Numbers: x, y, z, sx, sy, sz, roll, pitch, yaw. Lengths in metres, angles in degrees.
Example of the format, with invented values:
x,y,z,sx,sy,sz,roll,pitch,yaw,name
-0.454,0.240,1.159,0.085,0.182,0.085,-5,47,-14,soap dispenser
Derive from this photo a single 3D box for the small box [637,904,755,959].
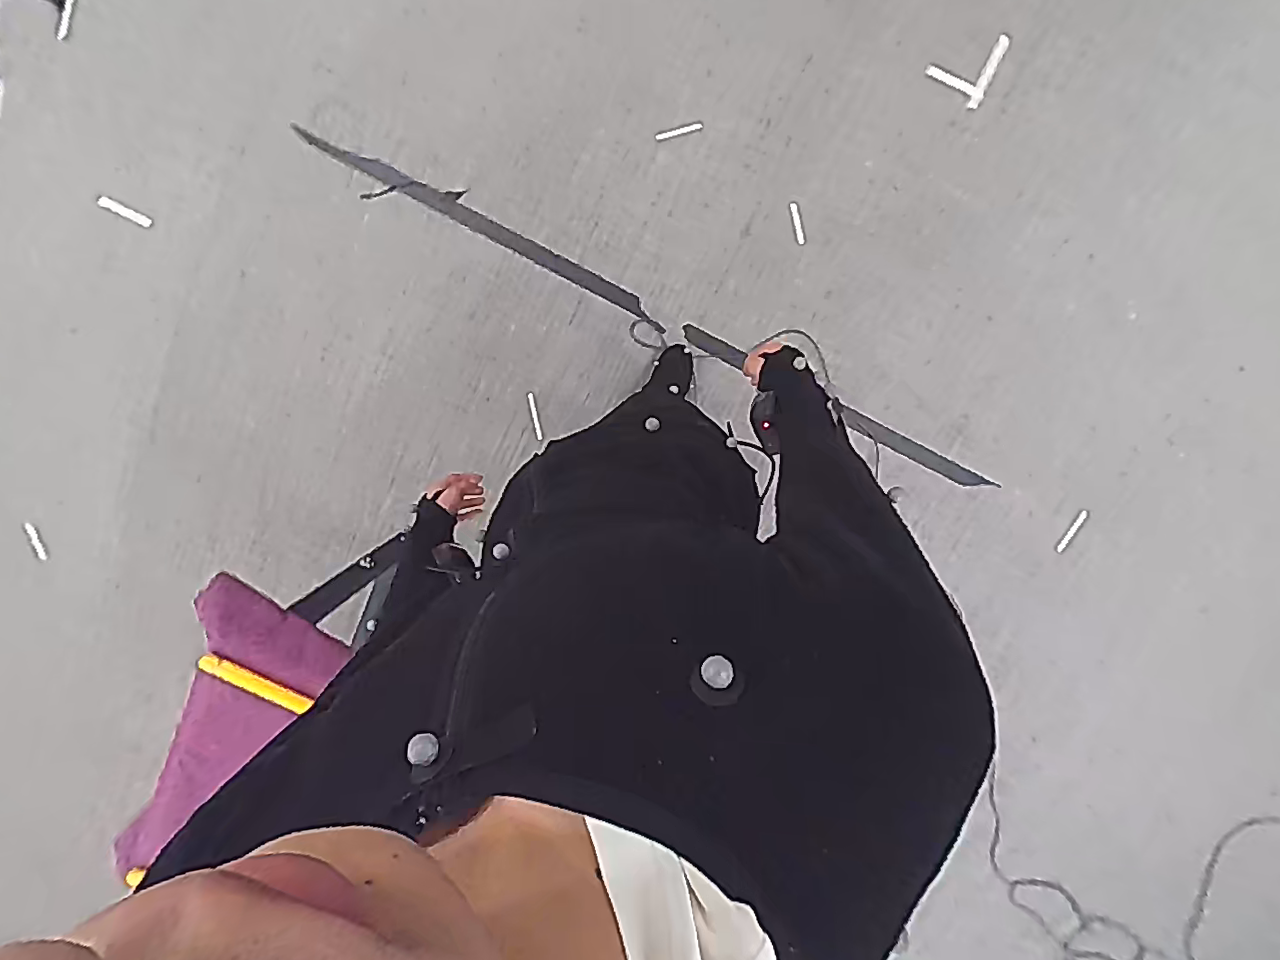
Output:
x,y,z,sx,sy,sz,roll,pitch,yaw,name
0.100,0.924,0.978,0.179,0.176,0.168,31,101,-4,small box

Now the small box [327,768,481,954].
x,y,z,sx,sy,sz,roll,pitch,yaw,name
-0.398,0.652,0.942,0.168,0.176,0.179,24,104,-3,small box
